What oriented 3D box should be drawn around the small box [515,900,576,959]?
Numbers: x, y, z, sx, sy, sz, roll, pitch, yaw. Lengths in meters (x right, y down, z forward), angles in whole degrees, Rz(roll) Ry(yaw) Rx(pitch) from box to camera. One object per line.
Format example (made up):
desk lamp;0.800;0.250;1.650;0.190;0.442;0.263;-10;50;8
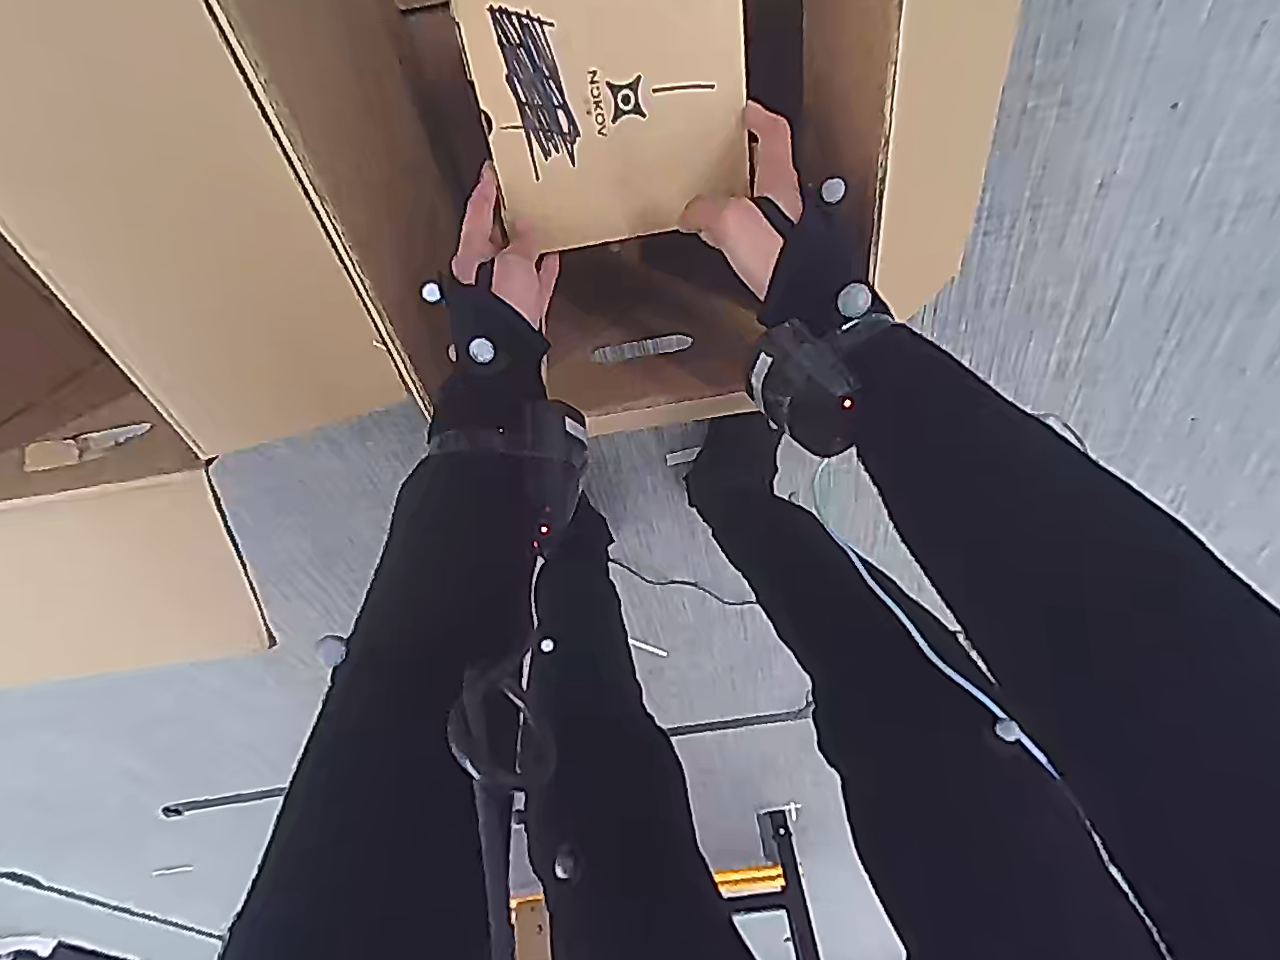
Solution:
small box;-0.312;1.523;1.799;0.168;0.176;0.179;-10;130;4
